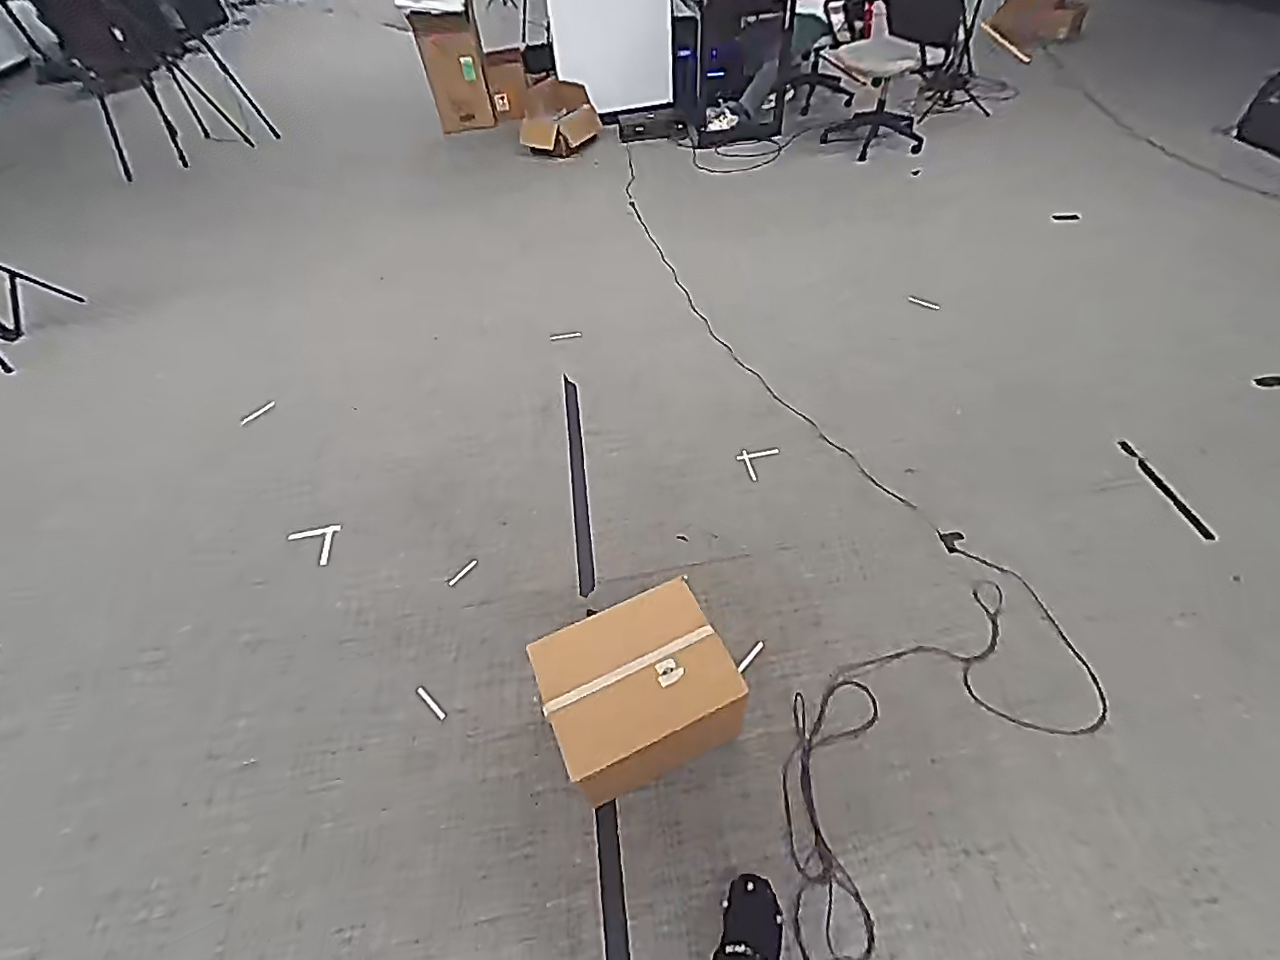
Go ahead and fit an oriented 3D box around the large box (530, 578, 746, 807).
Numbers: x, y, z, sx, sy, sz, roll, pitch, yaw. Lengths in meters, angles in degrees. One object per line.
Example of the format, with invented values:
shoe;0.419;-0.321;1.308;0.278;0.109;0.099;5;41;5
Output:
large box;-0.004;0.511;1.305;0.408;0.320;0.320;-22;52;-13
